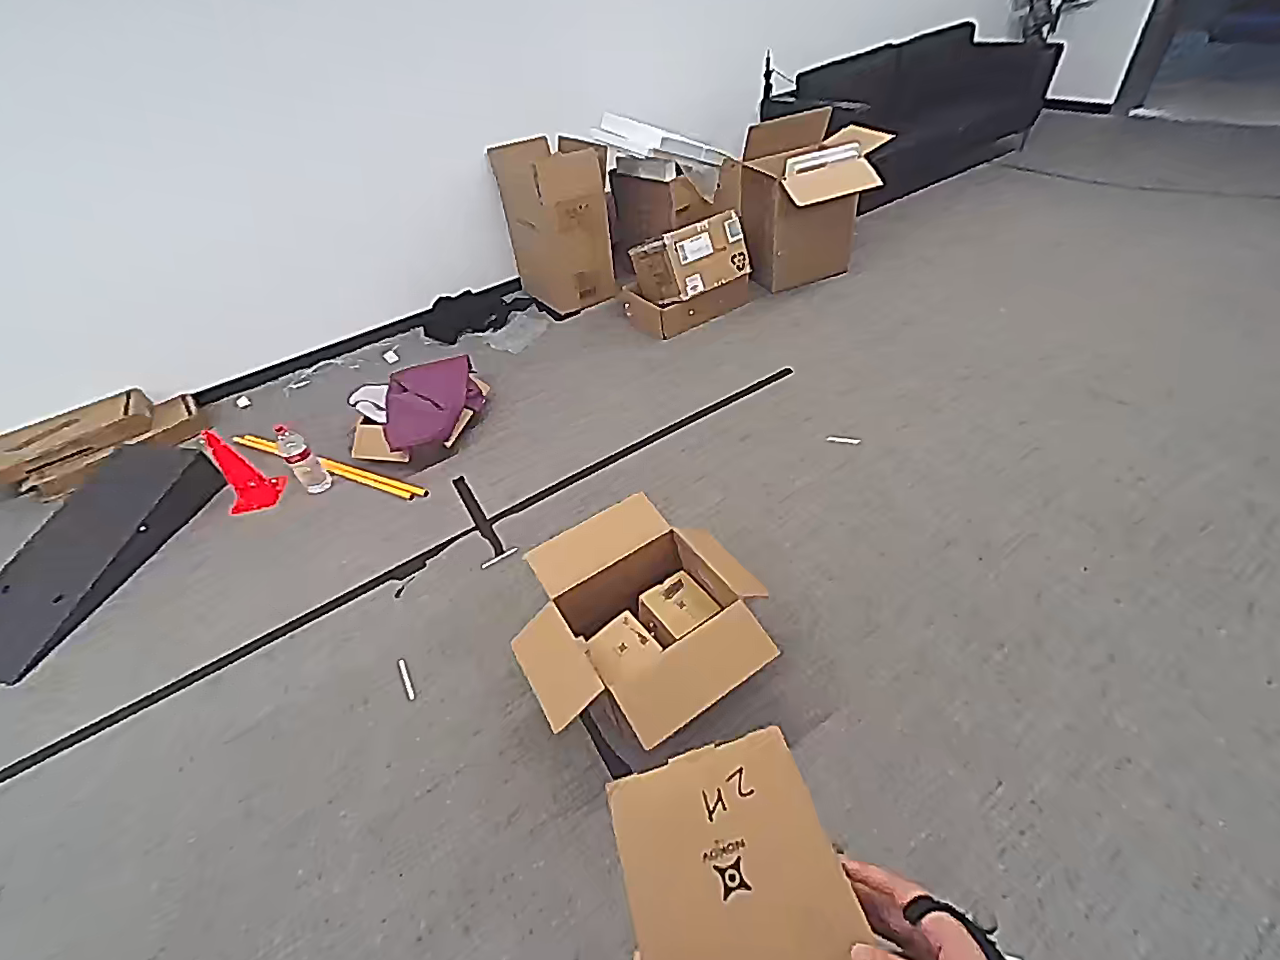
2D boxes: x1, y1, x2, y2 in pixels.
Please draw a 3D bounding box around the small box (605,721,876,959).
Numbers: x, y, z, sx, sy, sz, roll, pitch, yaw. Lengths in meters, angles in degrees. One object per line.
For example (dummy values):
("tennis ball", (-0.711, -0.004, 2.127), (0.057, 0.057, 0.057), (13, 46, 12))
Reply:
("small box", (0.079, 0.354, 0.485), (0.168, 0.176, 0.179), (-17, 45, -6))
